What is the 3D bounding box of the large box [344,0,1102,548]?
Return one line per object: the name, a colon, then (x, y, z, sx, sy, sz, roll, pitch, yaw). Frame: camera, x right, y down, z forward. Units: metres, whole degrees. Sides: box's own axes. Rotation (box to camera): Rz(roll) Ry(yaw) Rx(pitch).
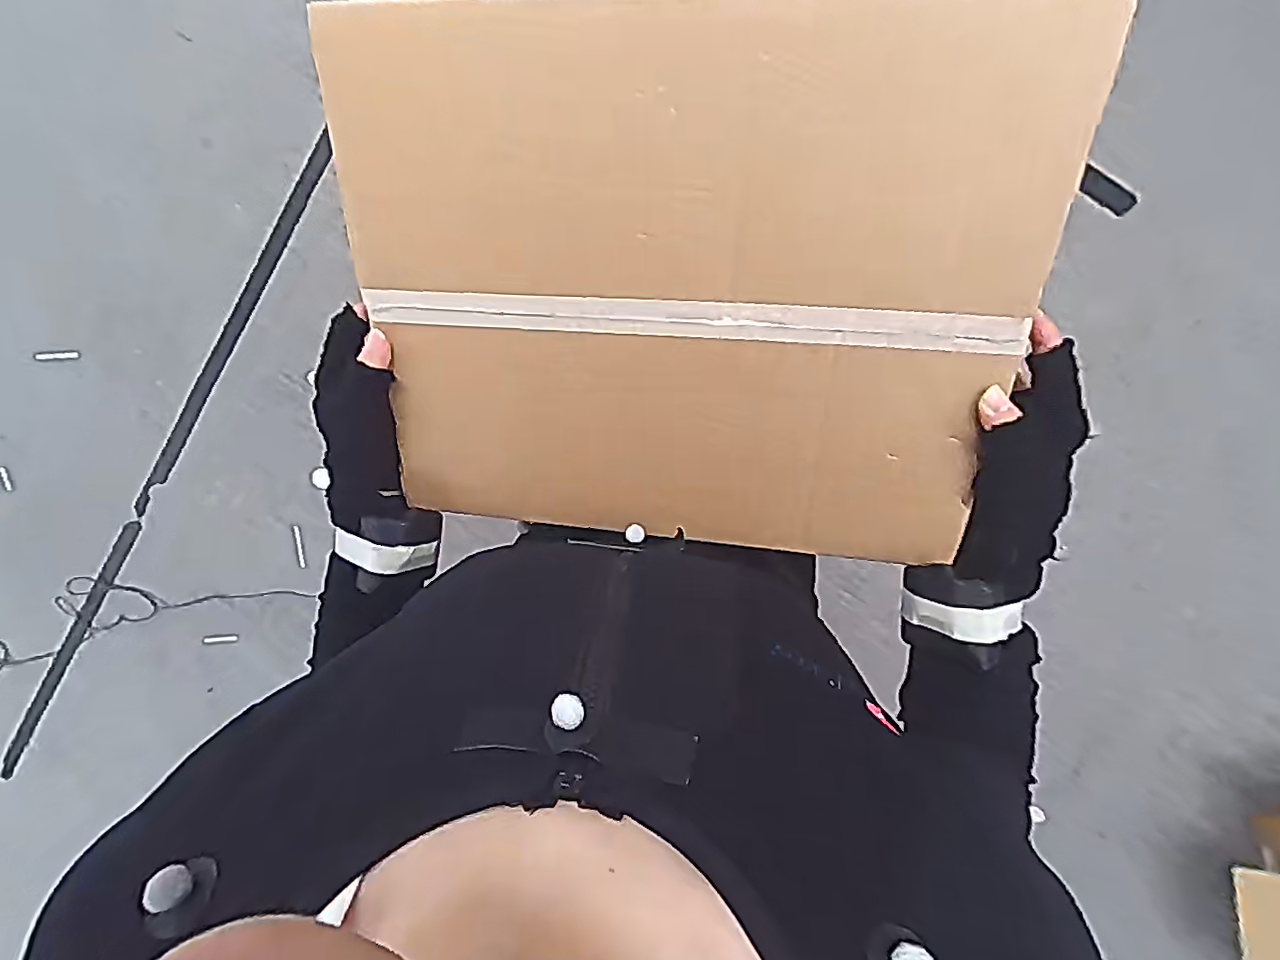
large box: (0.044, -0.167, 0.479, 0.408, 0.320, 0.320, 6, 118, 8)
